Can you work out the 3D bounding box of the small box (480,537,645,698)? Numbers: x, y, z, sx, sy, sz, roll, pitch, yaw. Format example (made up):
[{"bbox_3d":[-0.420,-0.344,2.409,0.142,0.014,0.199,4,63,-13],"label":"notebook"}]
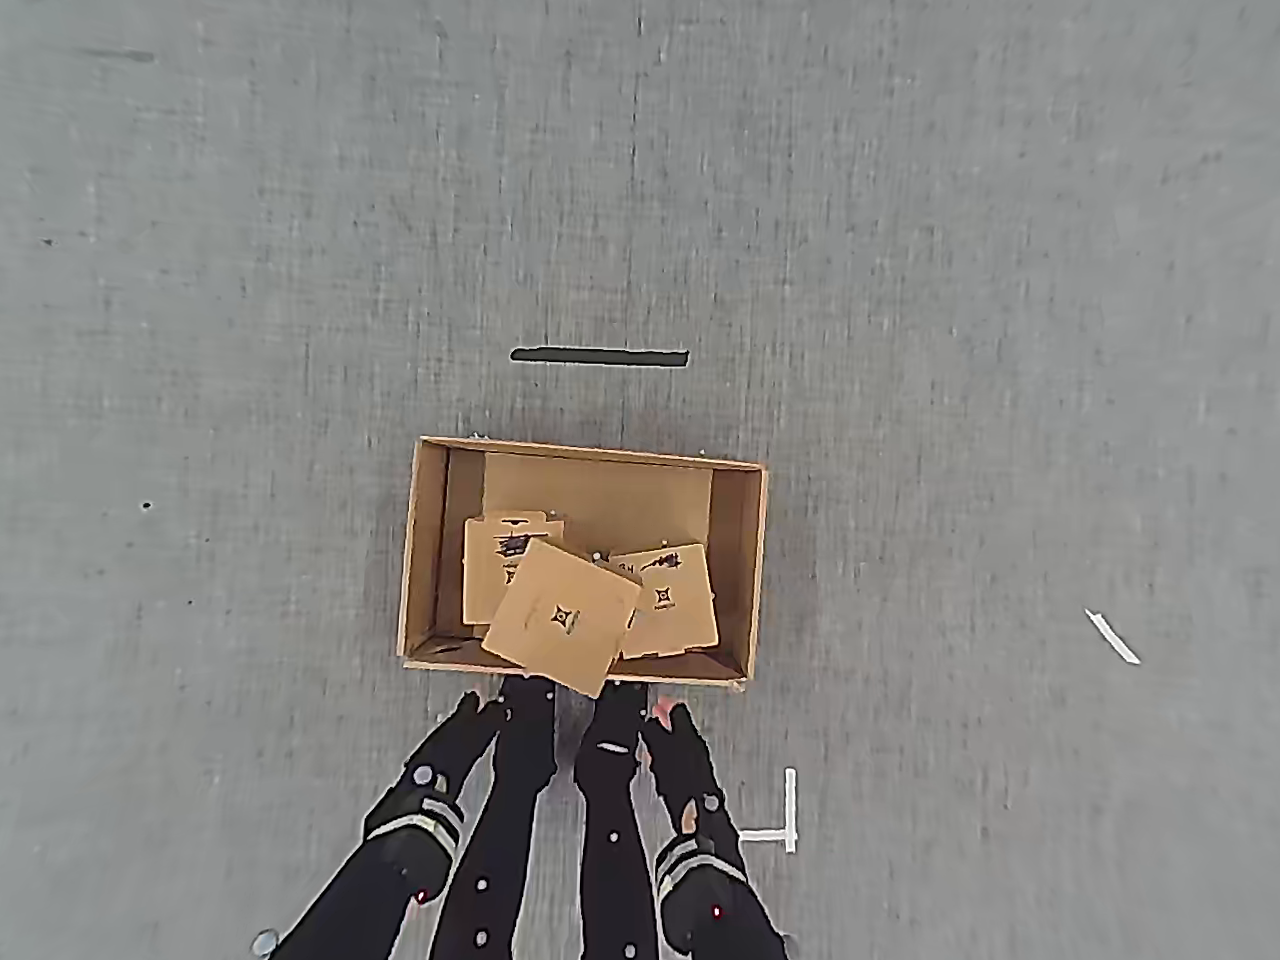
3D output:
[{"bbox_3d":[-0.107,0.194,0.813,0.179,0.176,0.168,25,82,1],"label":"small box"}]
